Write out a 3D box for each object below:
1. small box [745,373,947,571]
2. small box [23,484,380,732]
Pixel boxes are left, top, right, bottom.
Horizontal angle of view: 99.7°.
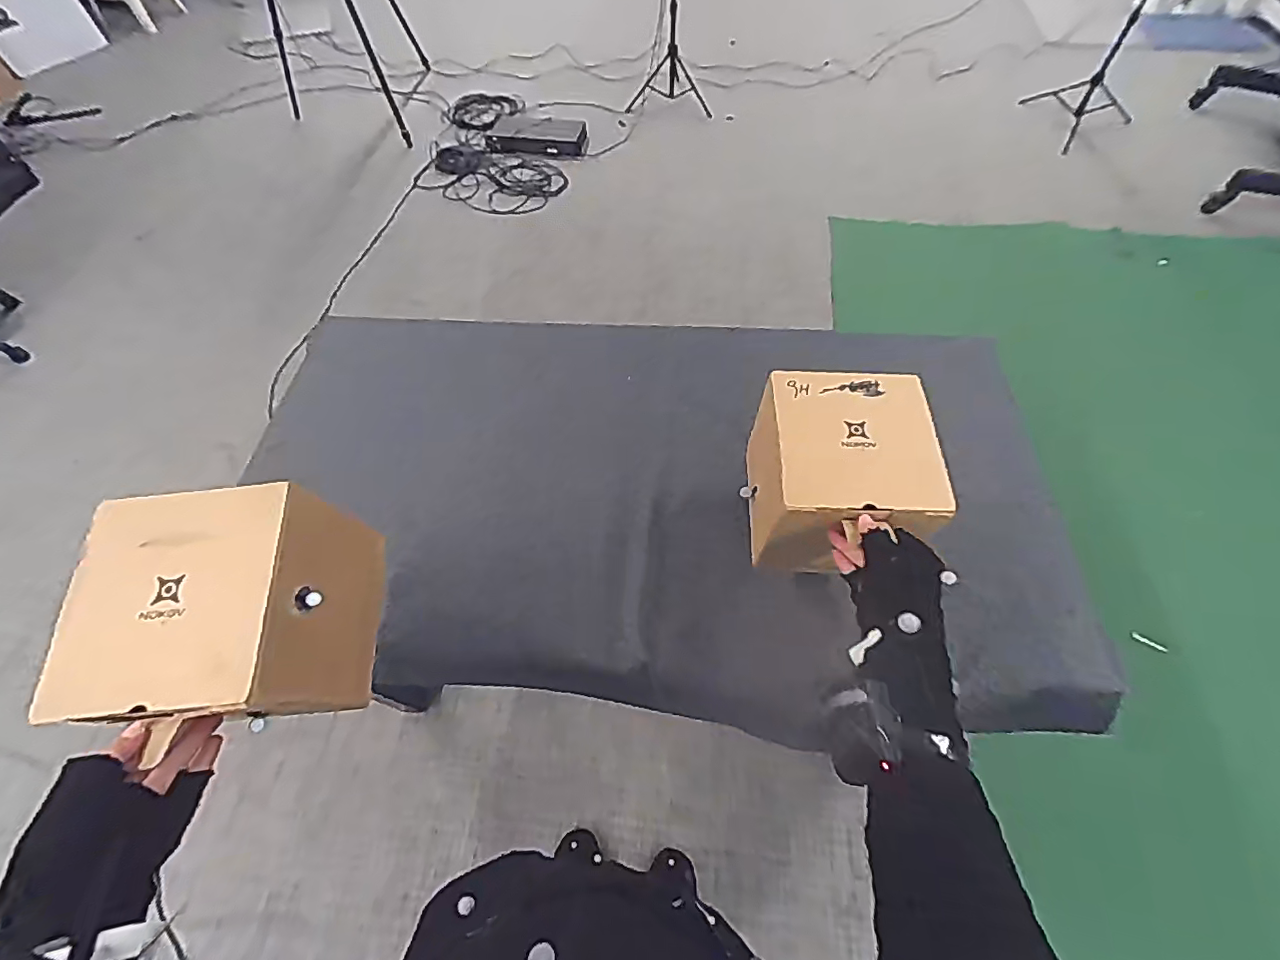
[{"bbox_3d":[0.220,-0.002,0.632,0.168,0.176,0.179,3,60,1],"label":"small box"},{"bbox_3d":[-0.358,0.121,0.486,0.168,0.176,0.179,-6,66,0],"label":"small box"}]
